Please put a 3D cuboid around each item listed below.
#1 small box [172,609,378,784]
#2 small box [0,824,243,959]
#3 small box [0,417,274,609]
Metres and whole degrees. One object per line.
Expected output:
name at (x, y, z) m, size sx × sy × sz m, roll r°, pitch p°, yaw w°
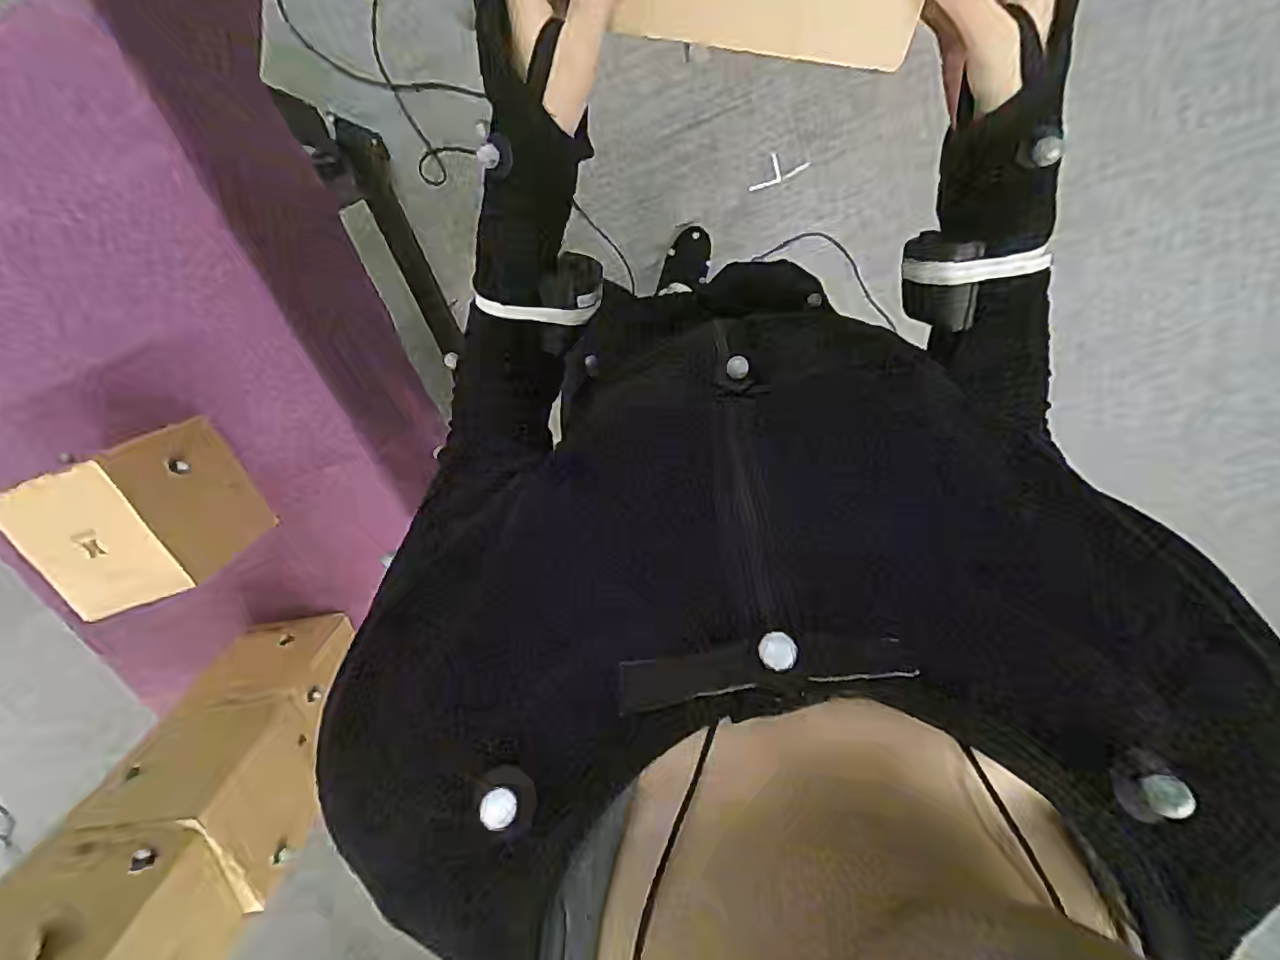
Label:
small box at (-0.532, 0.322, 0.822) m, size 0.168 × 0.176 × 0.179 m, roll -8°, pitch 112°, yaw 3°
small box at (-0.541, 0.467, 0.526) m, size 0.168 × 0.176 × 0.179 m, roll -1°, pitch 113°, yaw 1°
small box at (-0.632, 0.030, 0.696) m, size 0.168 × 0.176 × 0.179 m, roll -17°, pitch 113°, yaw 7°
